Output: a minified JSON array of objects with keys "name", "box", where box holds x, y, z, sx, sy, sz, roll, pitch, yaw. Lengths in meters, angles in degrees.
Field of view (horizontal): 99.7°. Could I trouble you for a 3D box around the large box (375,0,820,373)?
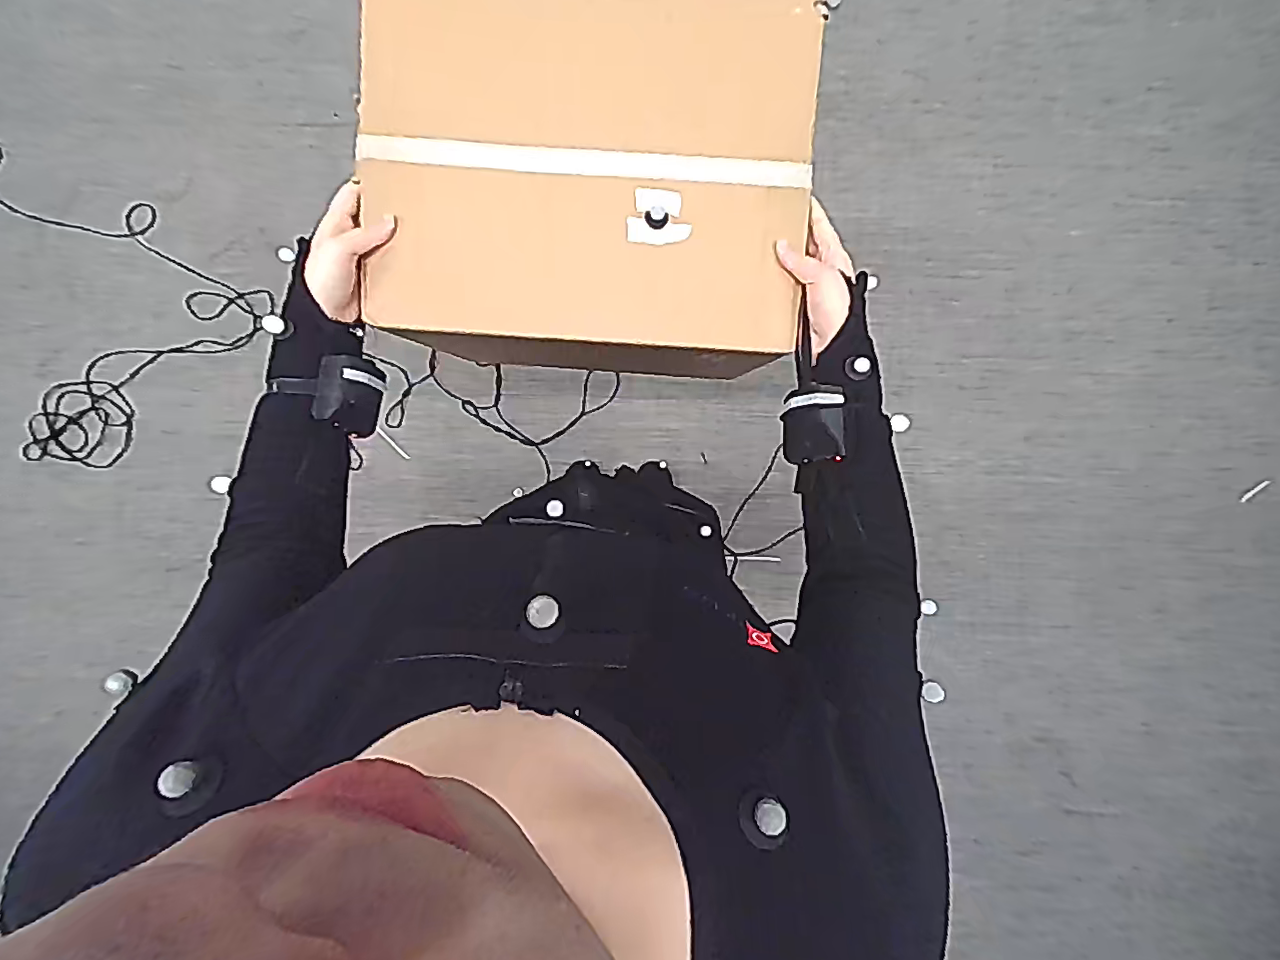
[{"name":"large box","box":[-0.048,-0.304,0.644,0.408,0.320,0.320,3,97,-2]}]
